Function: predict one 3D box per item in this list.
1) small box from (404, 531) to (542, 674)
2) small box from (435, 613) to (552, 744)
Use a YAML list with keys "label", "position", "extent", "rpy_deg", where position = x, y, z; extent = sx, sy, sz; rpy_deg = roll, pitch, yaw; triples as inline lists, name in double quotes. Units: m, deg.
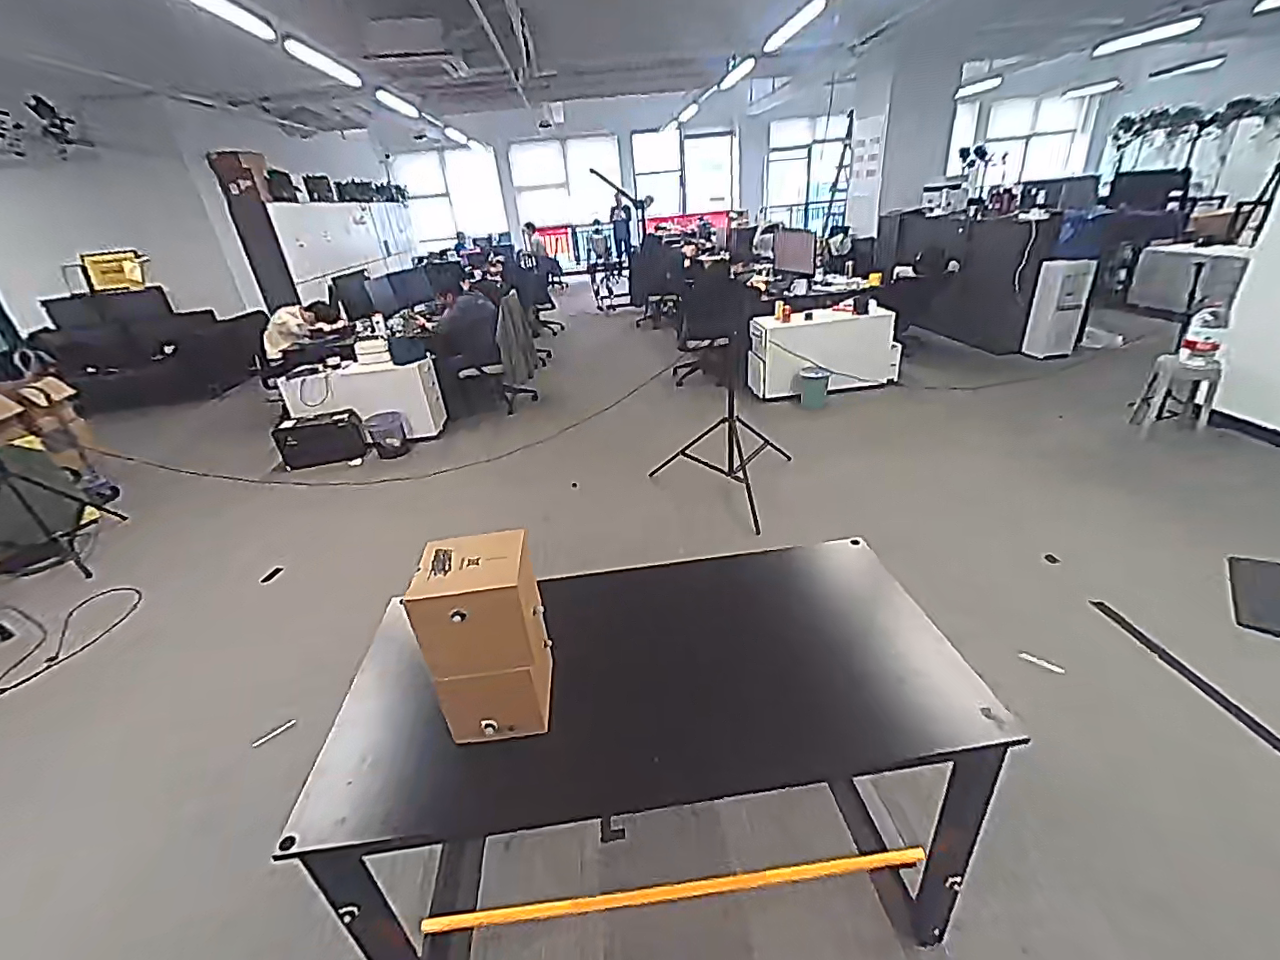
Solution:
- label: "small box"
  position: [-0.275, 0.211, 0.932]
  extent: [0.179, 0.176, 0.168]
  rpy_deg: [-7, 27, -4]
- label: "small box"
  position: [-0.260, 0.356, 1.009]
  extent: [0.168, 0.176, 0.179]
  rpy_deg: [-8, 28, -2]
